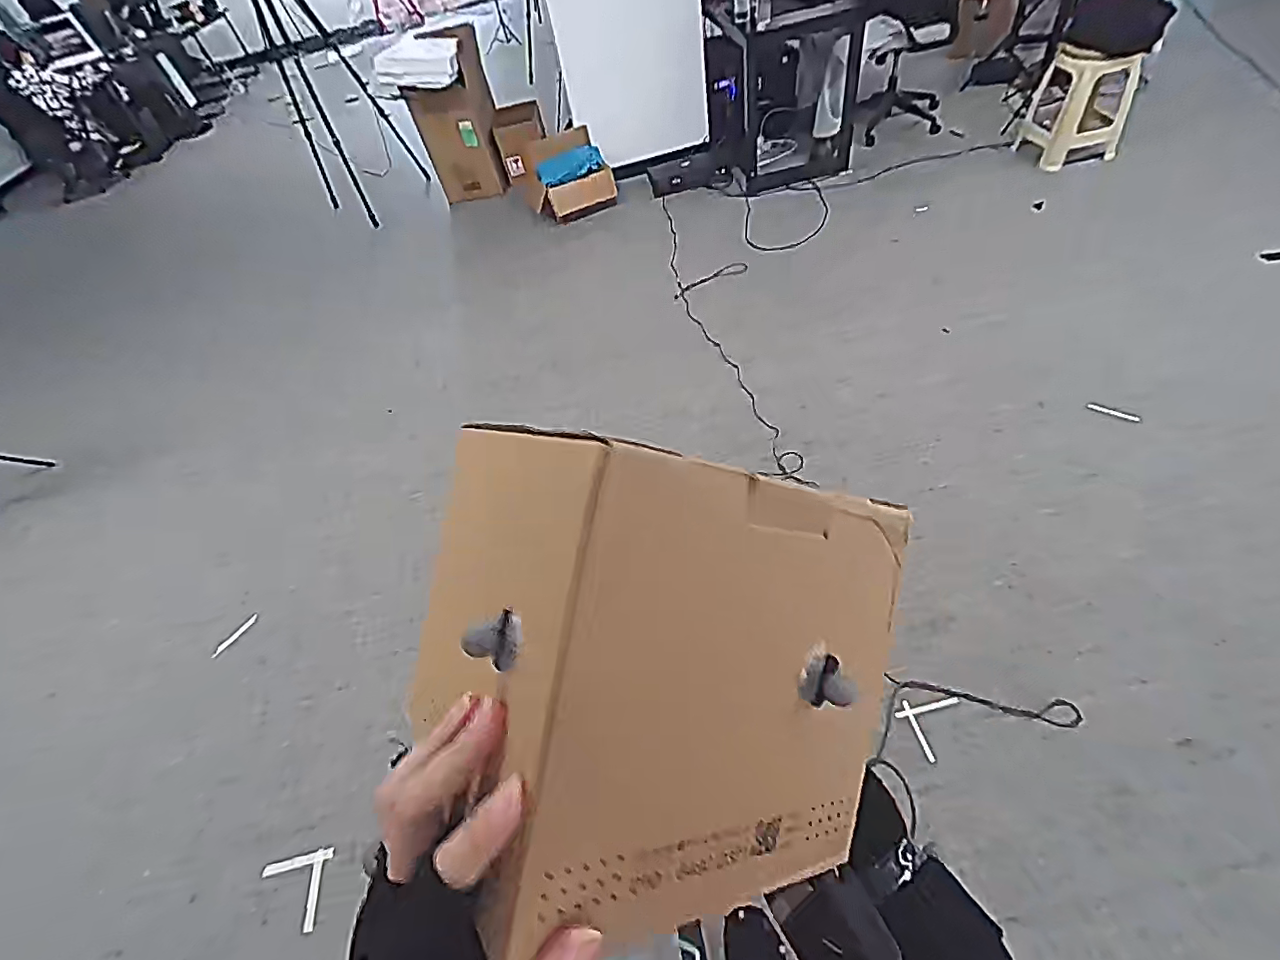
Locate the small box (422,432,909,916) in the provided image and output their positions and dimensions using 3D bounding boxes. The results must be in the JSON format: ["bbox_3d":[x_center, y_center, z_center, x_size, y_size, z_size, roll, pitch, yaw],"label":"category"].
[{"bbox_3d":[-0.002,0.076,0.277,0.179,0.168,0.176,11,90,59],"label":"small box"}]
